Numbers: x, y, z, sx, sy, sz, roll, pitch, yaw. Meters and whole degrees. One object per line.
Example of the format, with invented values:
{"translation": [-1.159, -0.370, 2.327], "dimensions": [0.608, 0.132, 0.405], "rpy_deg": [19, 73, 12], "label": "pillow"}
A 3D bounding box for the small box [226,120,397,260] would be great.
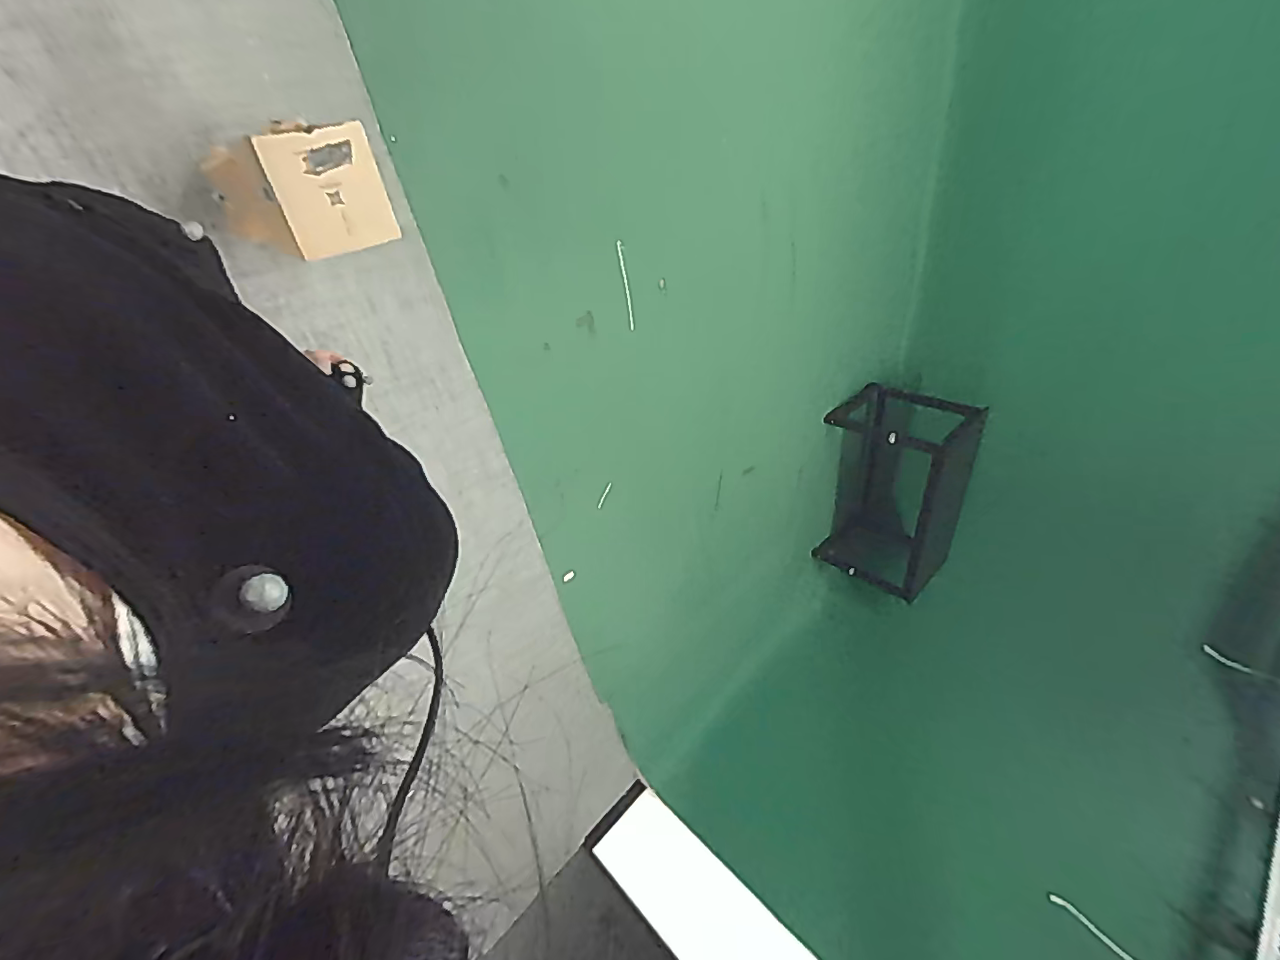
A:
{"translation": [-0.545, -0.482, 0.901], "dimensions": [0.168, 0.176, 0.179], "rpy_deg": [-34, 133, -32], "label": "small box"}

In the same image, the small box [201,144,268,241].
{"translation": [-0.771, -0.590, 1.114], "dimensions": [0.179, 0.176, 0.168], "rpy_deg": [-26, 128, -36], "label": "small box"}
